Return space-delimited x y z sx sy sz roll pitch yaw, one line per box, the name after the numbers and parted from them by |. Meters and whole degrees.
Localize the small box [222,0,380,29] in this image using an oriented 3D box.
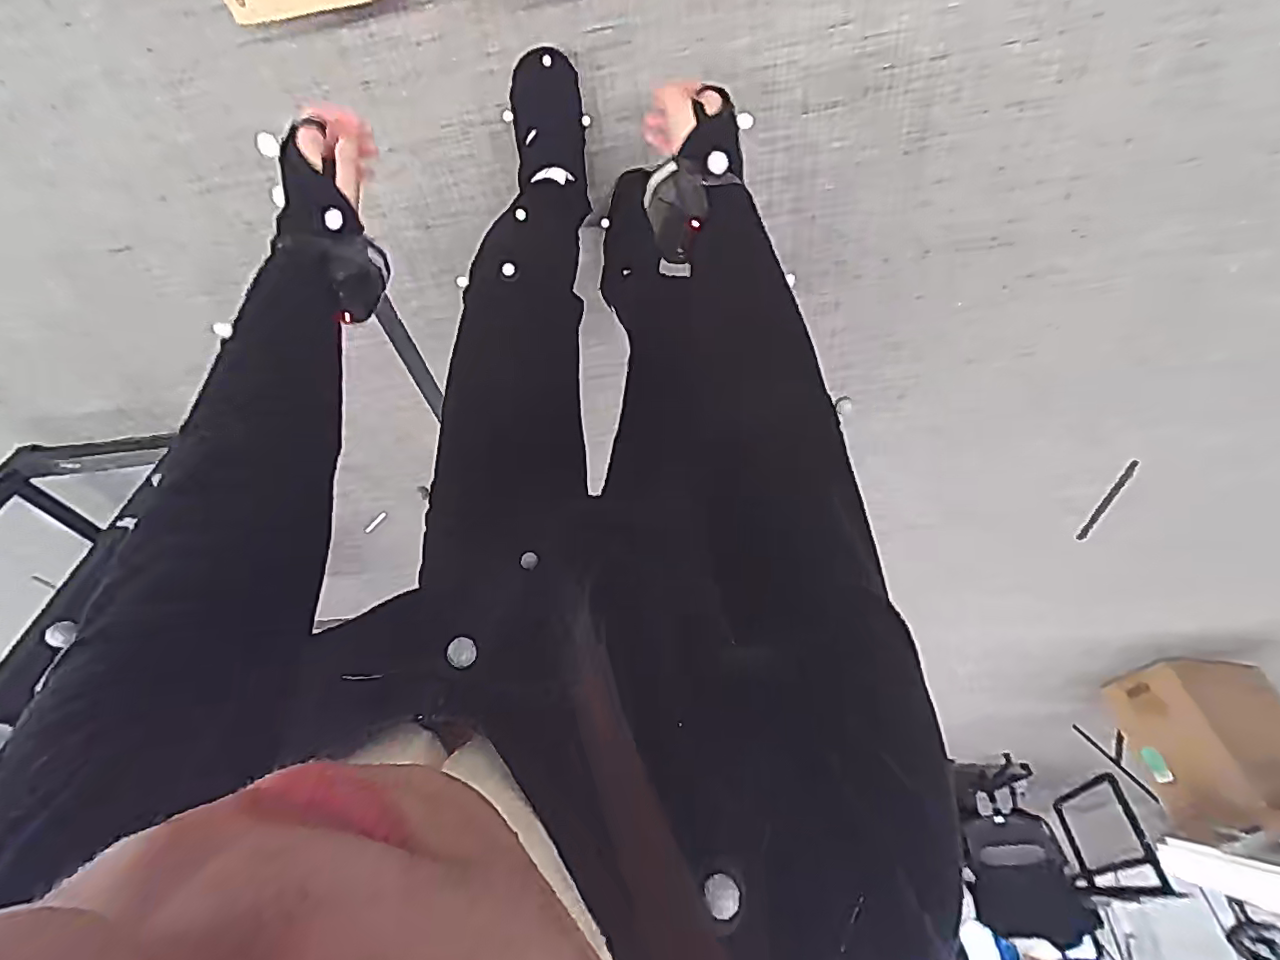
-0.419 -0.674 0.647 0.179 0.176 0.168 -5 139 4 | small box
